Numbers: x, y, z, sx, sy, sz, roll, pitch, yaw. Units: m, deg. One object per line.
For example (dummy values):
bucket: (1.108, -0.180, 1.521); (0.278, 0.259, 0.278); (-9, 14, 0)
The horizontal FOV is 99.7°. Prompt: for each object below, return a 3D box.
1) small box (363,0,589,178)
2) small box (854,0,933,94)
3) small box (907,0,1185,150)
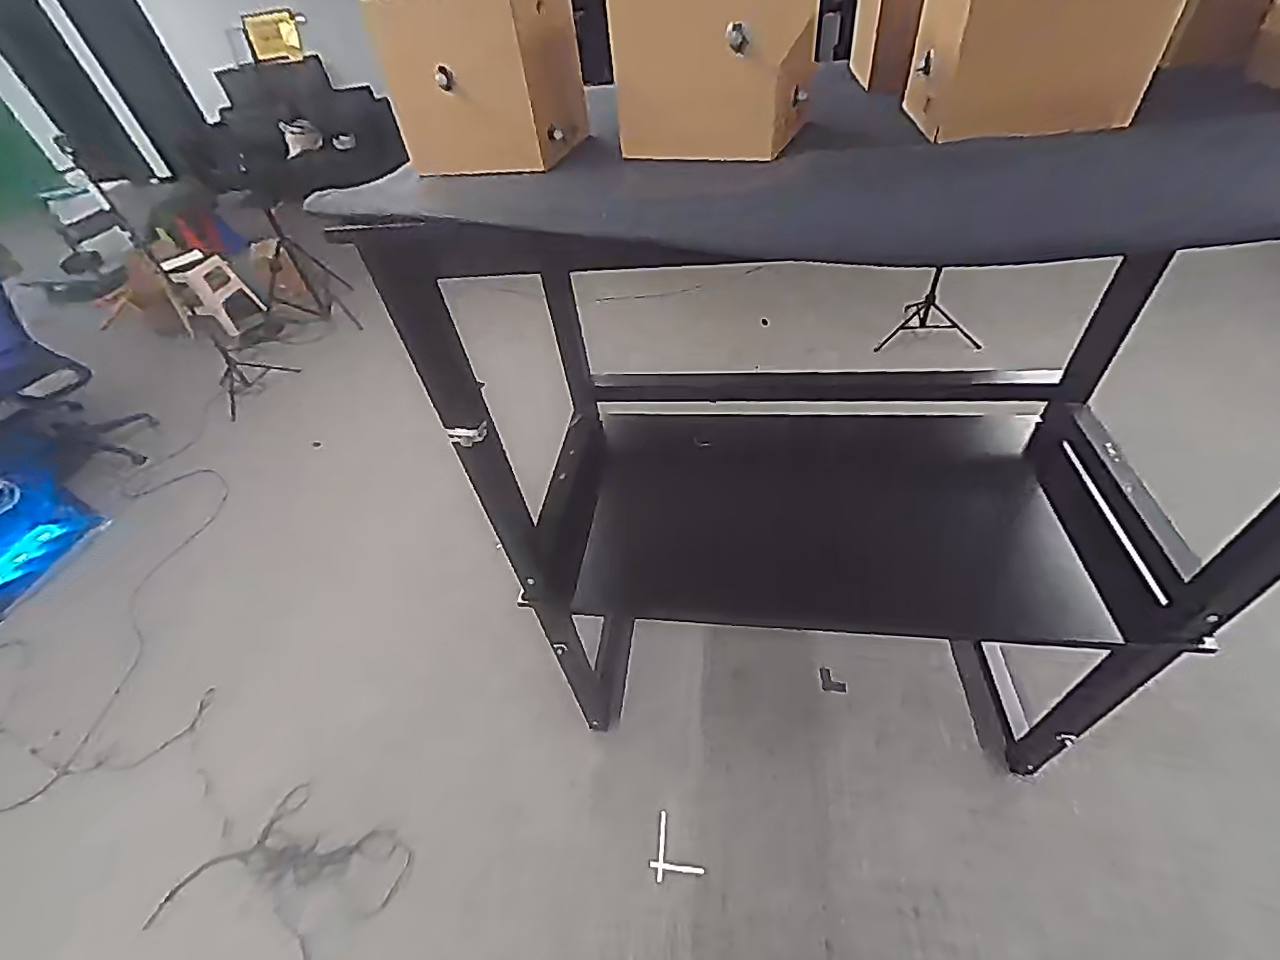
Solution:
small box: (-0.173, -0.473, 0.639); (0.179, 0.176, 0.168); (6, 45, 15)
small box: (0.388, -0.627, 0.710); (0.168, 0.176, 0.179); (1, 46, 11)
small box: (0.389, -0.447, 0.533); (0.179, 0.176, 0.168); (1, 46, 10)
